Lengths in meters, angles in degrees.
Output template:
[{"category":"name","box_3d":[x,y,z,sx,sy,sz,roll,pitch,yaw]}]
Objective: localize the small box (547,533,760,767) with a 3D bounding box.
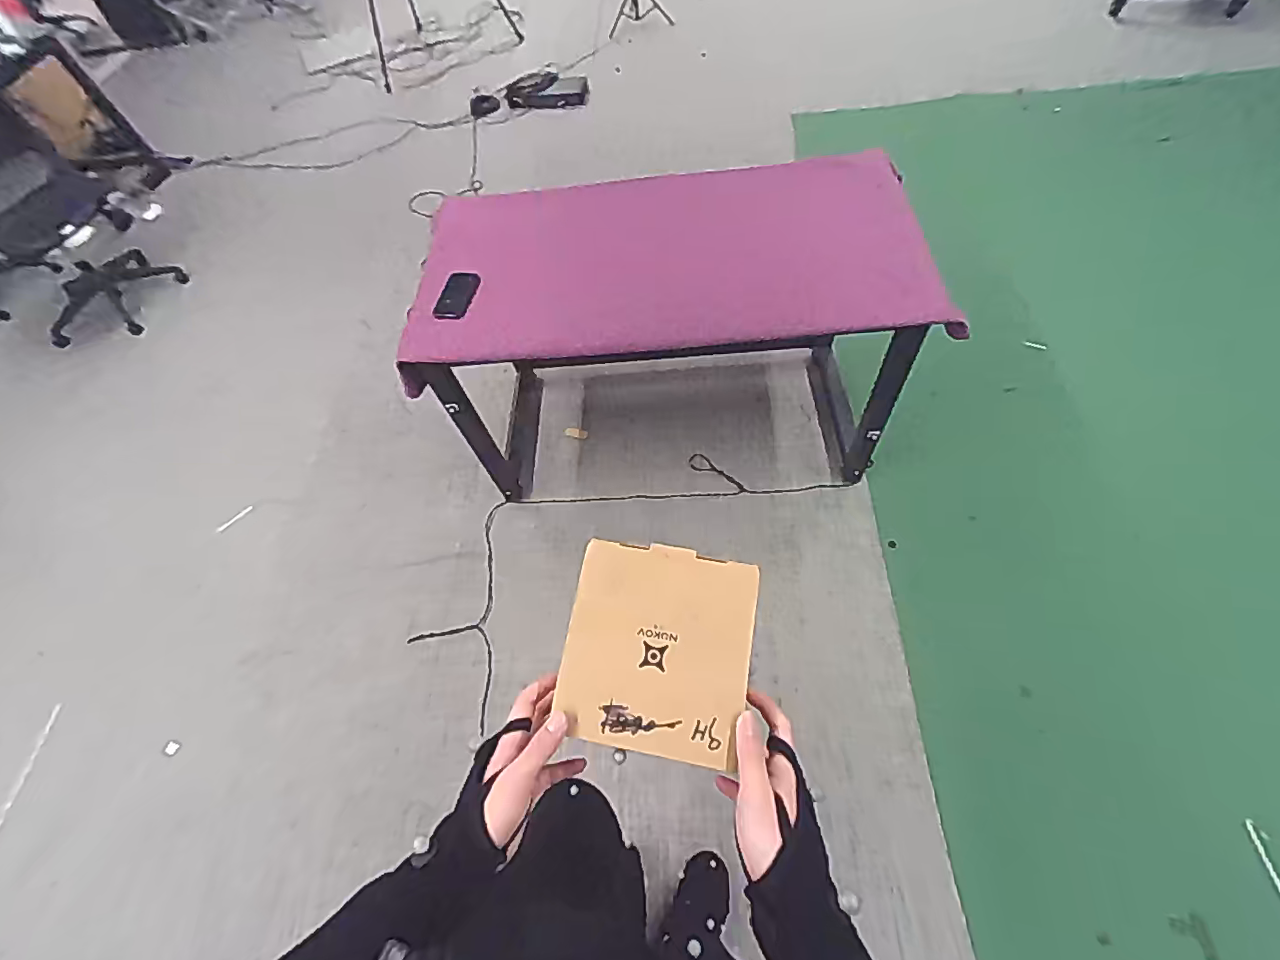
[{"category":"small box","box_3d":[0.022,0.170,0.554,0.168,0.176,0.179,8,71,10]}]
